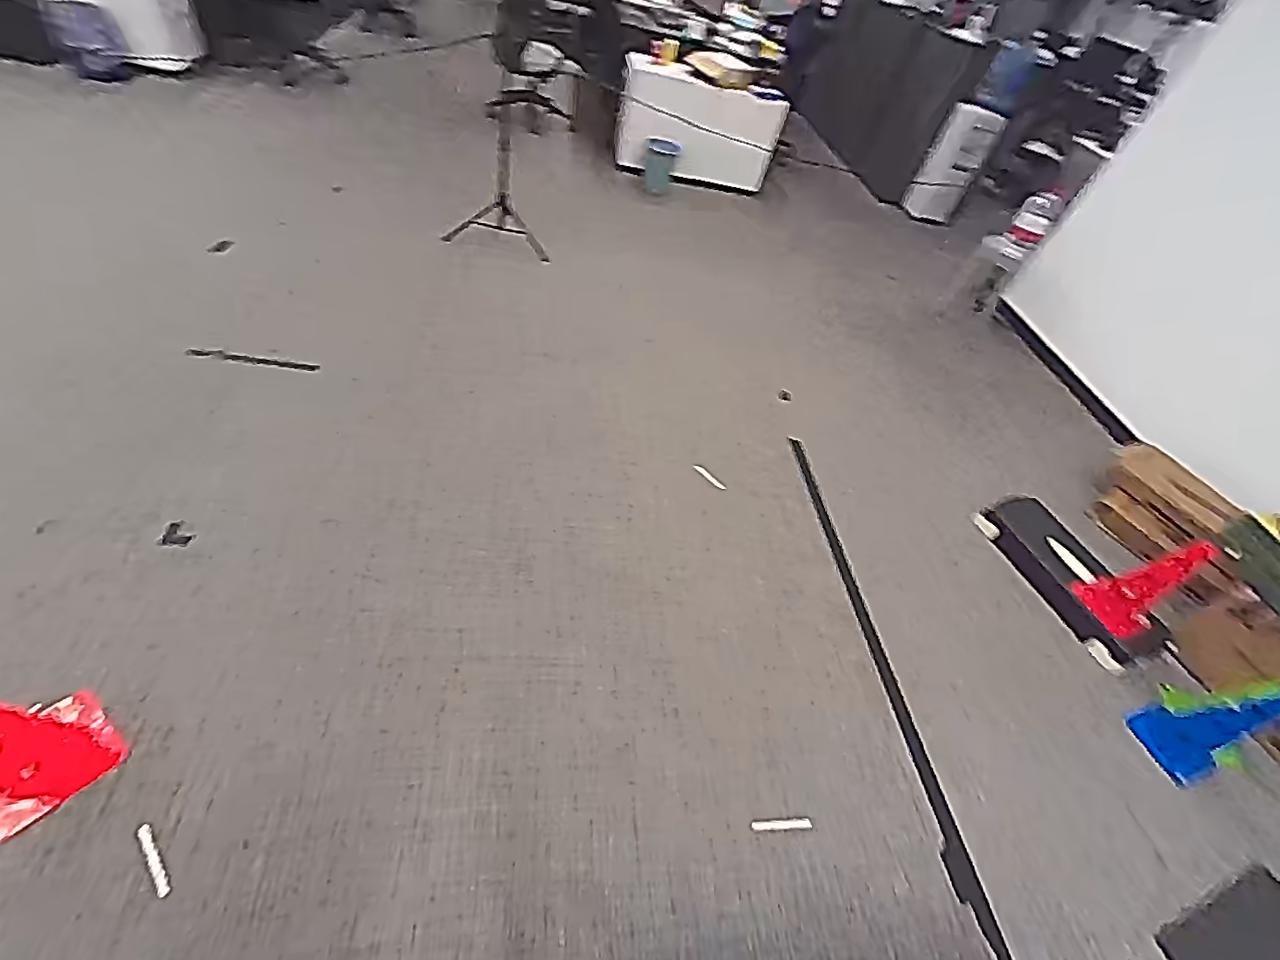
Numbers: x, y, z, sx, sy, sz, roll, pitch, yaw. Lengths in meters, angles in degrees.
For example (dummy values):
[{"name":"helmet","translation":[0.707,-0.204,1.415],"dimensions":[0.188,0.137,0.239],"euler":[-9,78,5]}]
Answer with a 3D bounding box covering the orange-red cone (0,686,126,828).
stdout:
[{"name":"orange-red cone","translation":[-1.112,0.422,0.925],"dimensions":[0.199,0.360,0.198],"euler":[40,51,17]}]
